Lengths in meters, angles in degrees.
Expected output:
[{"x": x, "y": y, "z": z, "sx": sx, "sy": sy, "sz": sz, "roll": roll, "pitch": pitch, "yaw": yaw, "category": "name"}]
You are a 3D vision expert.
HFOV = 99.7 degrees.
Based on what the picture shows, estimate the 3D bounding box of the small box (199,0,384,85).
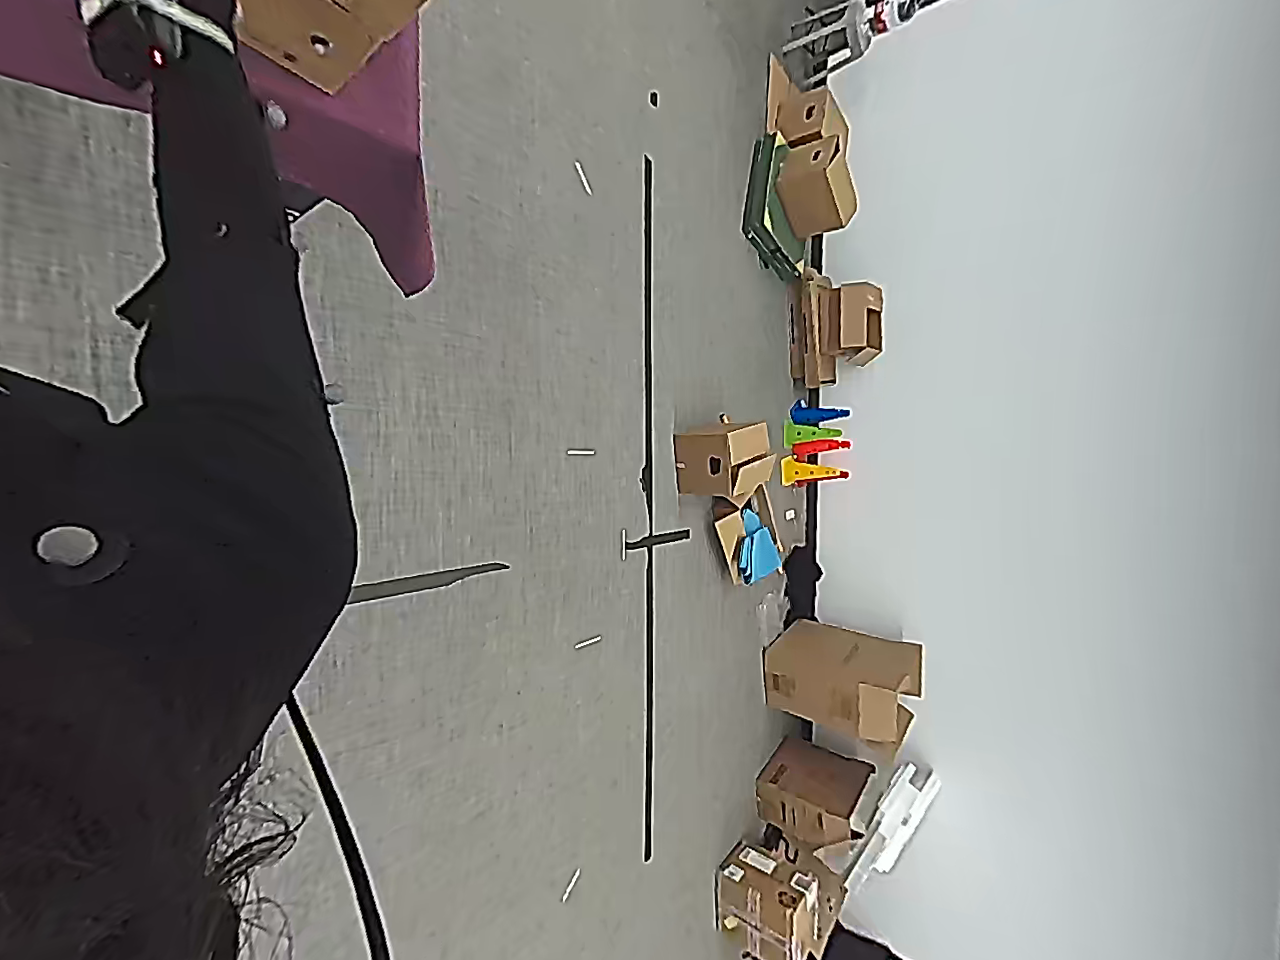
[{"x": -0.419, "y": -0.633, "z": 0.650, "sx": 0.168, "sy": 0.176, "sz": 0.179, "roll": 10, "pitch": 83, "yaw": -52, "category": "small box"}]

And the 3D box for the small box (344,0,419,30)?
[{"x": -0.284, "y": -0.630, "z": 0.555, "sx": 0.168, "sy": 0.176, "sz": 0.179, "roll": 16, "pitch": 80, "yaw": -52, "category": "small box"}]
